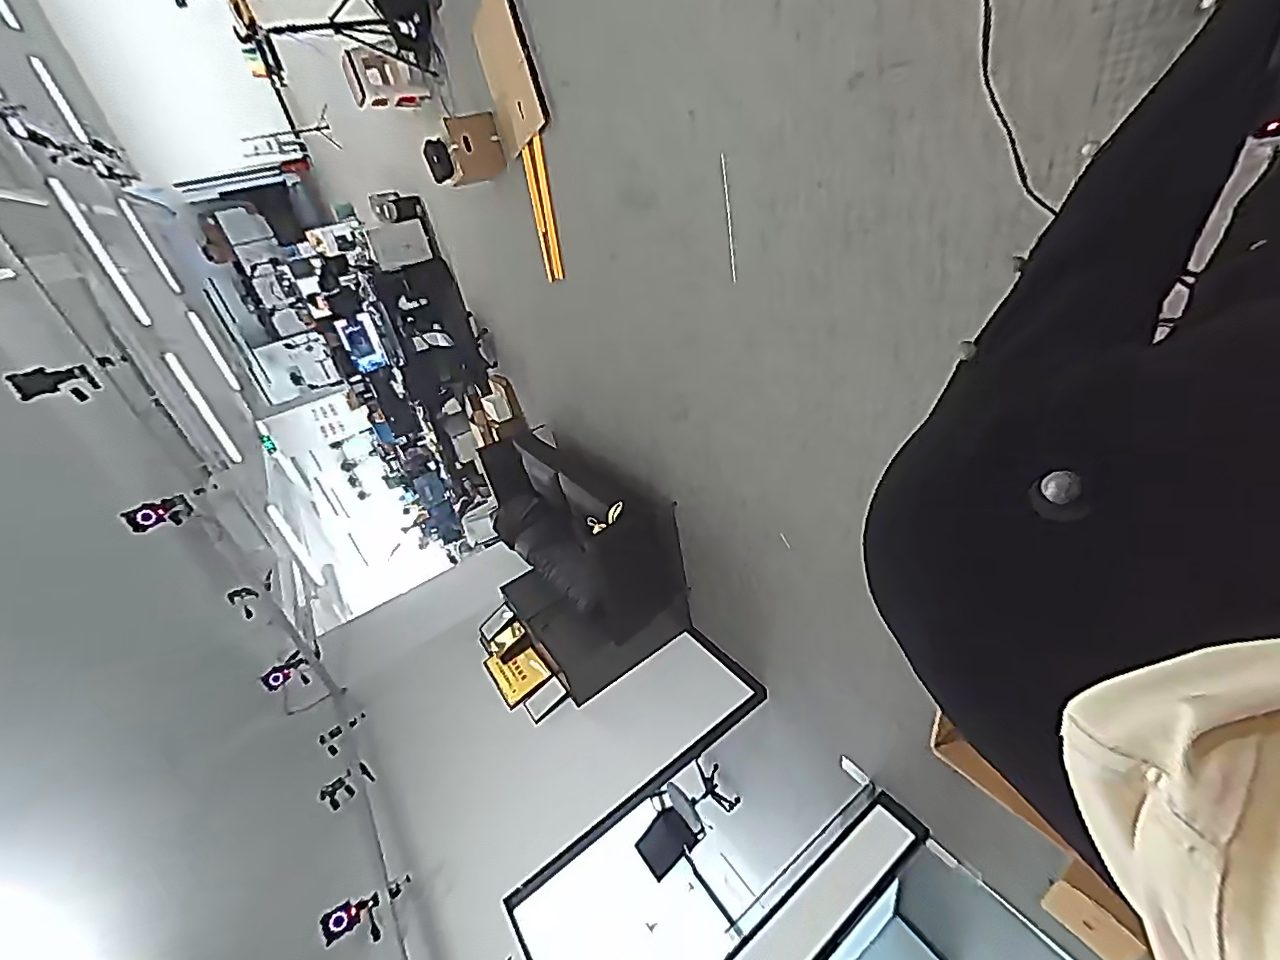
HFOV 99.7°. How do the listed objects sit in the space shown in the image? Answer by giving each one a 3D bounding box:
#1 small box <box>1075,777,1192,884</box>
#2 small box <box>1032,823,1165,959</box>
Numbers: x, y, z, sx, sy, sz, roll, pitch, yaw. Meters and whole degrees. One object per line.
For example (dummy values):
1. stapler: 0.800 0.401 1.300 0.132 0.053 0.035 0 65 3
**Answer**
1. small box: 1.201 0.885 1.332 0.168 0.176 0.179 32 143 46
2. small box: 1.070 0.957 1.264 0.168 0.176 0.179 34 143 44
